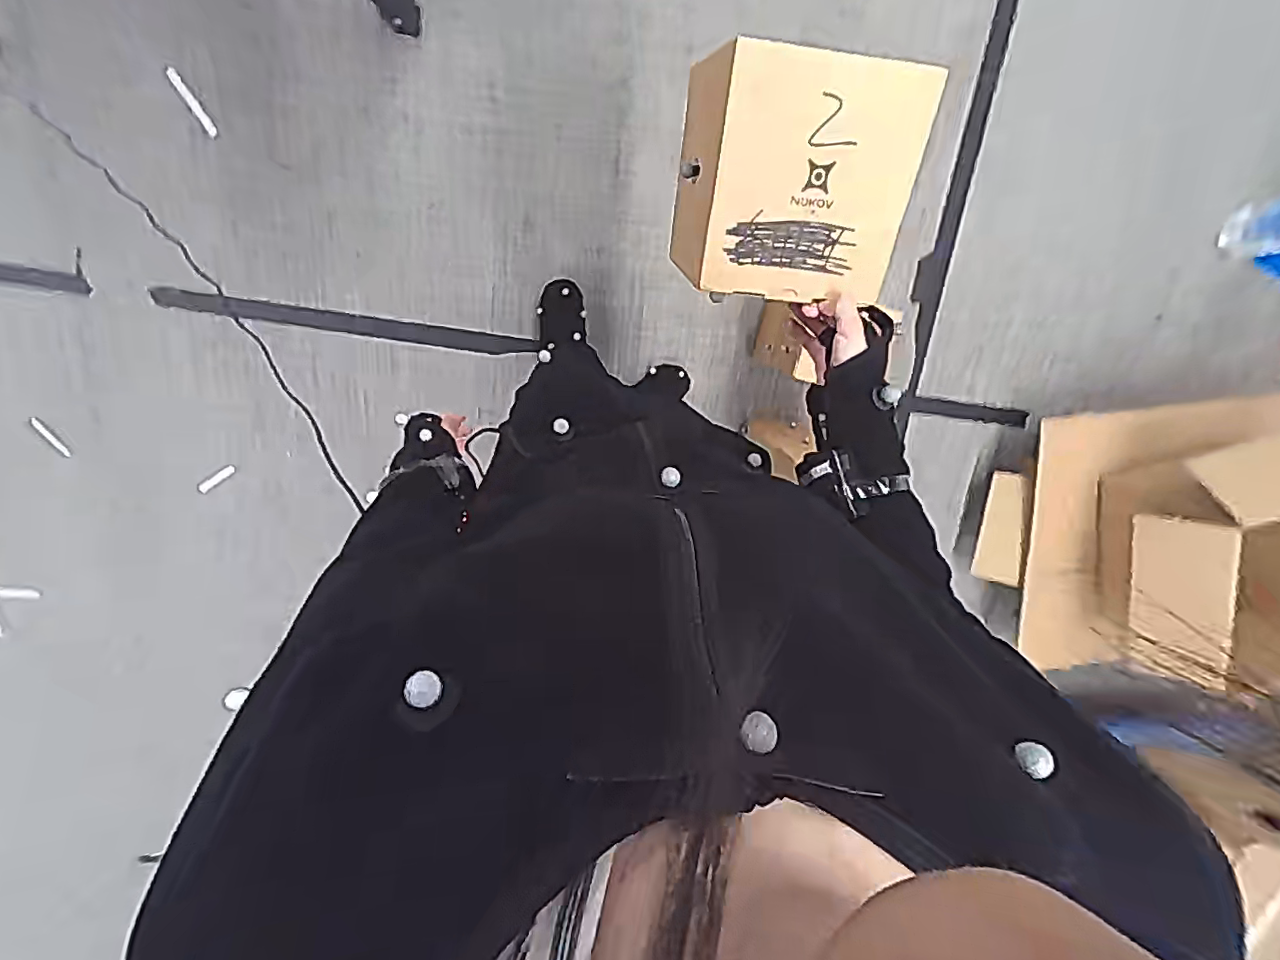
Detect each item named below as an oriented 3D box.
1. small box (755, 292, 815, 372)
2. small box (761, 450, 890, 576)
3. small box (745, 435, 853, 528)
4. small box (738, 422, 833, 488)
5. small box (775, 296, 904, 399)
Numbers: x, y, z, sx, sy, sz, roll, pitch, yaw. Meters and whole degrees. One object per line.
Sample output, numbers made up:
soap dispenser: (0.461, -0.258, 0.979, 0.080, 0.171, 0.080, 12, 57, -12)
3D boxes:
small box: (0.386, -0.334, 1.273, 0.168, 0.176, 0.179, 12, 107, -6)
small box: (0.347, 0.059, 1.053, 0.168, 0.176, 0.179, 12, 109, -6)
small box: (0.345, 0.008, 1.209, 0.168, 0.176, 0.179, 9, 108, -4)
small box: (0.357, -0.046, 1.365, 0.179, 0.176, 0.168, 6, 108, -5)
small box: (0.399, -0.279, 1.121, 0.179, 0.176, 0.168, 10, 109, -7)
